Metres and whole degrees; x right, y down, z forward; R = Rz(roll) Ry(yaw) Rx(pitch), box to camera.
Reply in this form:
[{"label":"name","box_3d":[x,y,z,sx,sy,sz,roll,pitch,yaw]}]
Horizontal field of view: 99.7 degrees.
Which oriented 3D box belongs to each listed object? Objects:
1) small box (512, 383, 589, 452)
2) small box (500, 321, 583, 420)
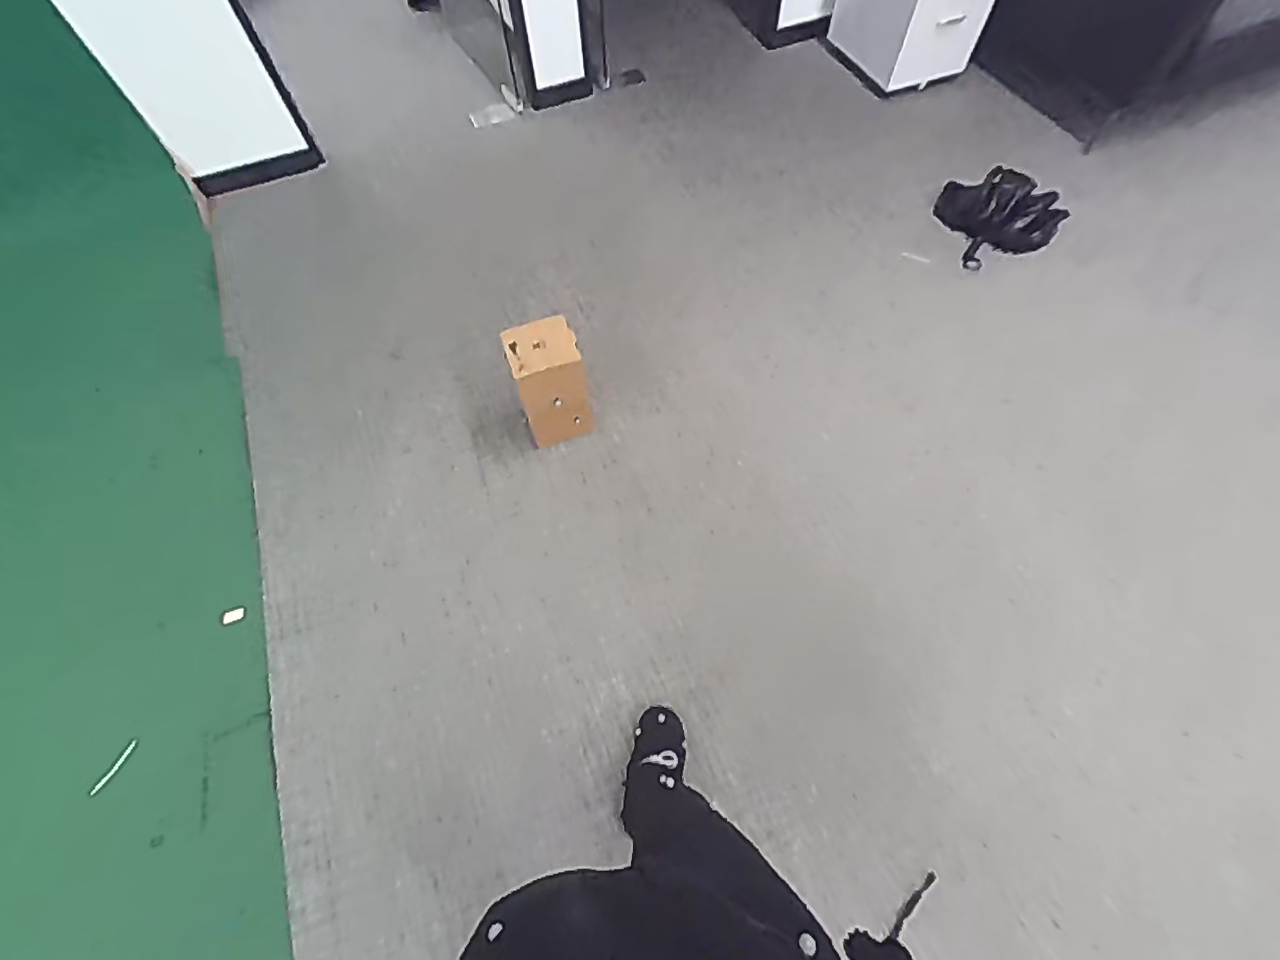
[{"label":"small box","box_3d":[-0.255,-0.212,1.584,0.179,0.176,0.168,-21,63,-8]},{"label":"small box","box_3d":[-0.255,-0.288,1.440,0.179,0.176,0.168,-18,62,-9]}]
